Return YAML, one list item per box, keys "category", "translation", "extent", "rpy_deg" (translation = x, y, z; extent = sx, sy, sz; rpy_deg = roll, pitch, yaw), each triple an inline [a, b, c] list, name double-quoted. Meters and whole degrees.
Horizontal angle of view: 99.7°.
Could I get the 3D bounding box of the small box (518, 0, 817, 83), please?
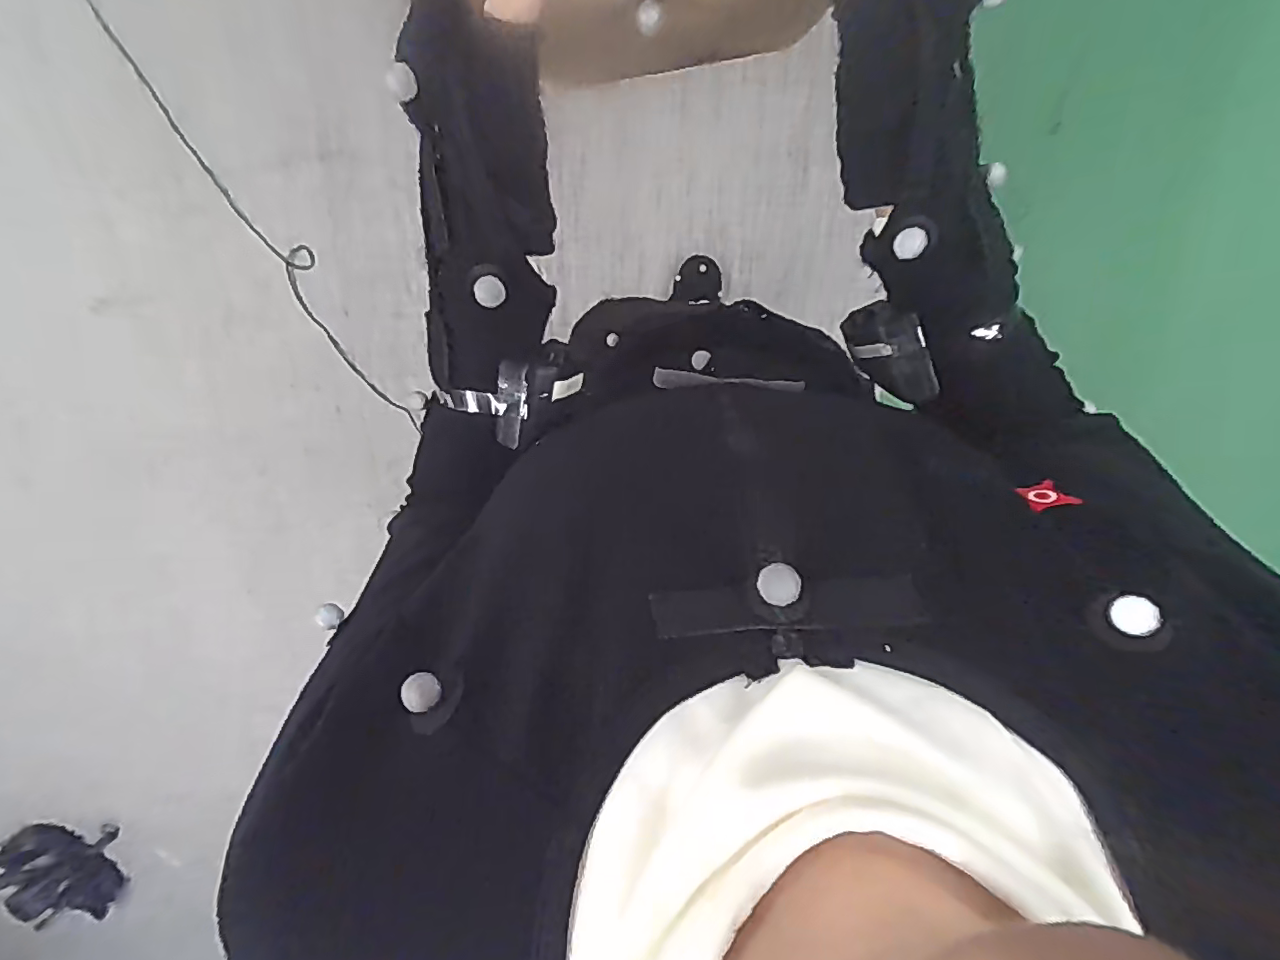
- category: "small box"
  translation: [0.006, -0.322, 0.251]
  extent: [0.168, 0.176, 0.179]
  rpy_deg: [-8, 114, 5]
